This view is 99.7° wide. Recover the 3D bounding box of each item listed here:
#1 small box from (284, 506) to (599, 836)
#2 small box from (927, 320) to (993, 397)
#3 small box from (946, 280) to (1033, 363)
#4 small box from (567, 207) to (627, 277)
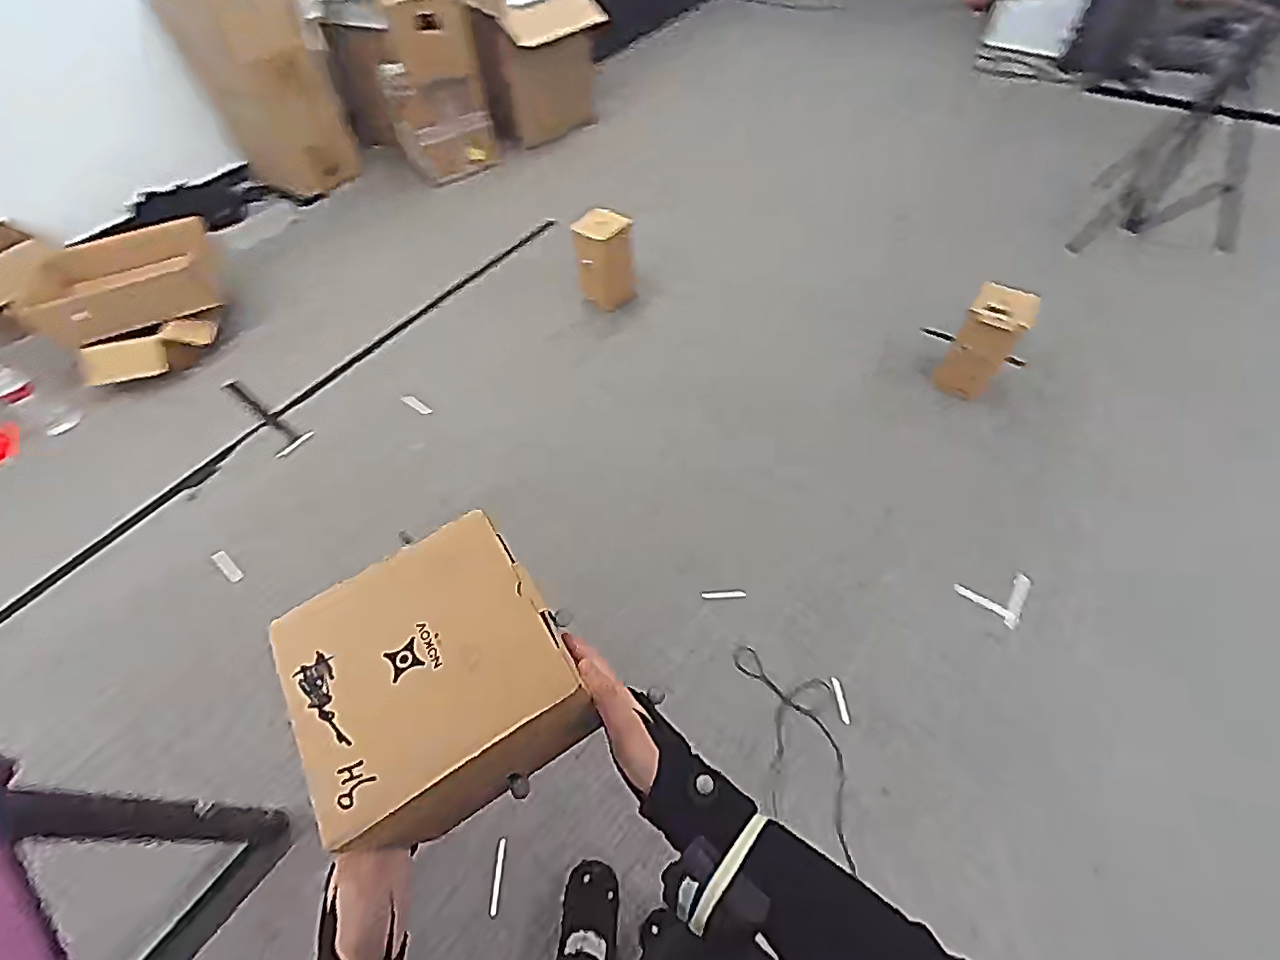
[{"bbox_3d":[-0.144,0.158,0.447,0.179,0.176,0.168,-28,60,-13],"label":"small box"},{"bbox_3d":[1.134,-0.423,1.896,0.168,0.176,0.179,27,61,20],"label":"small box"},{"bbox_3d":[1.128,-0.513,1.758,0.168,0.176,0.179,28,62,21],"label":"small box"},{"bbox_3d":[-0.166,-0.947,2.156,0.168,0.176,0.179,34,65,25],"label":"small box"}]
